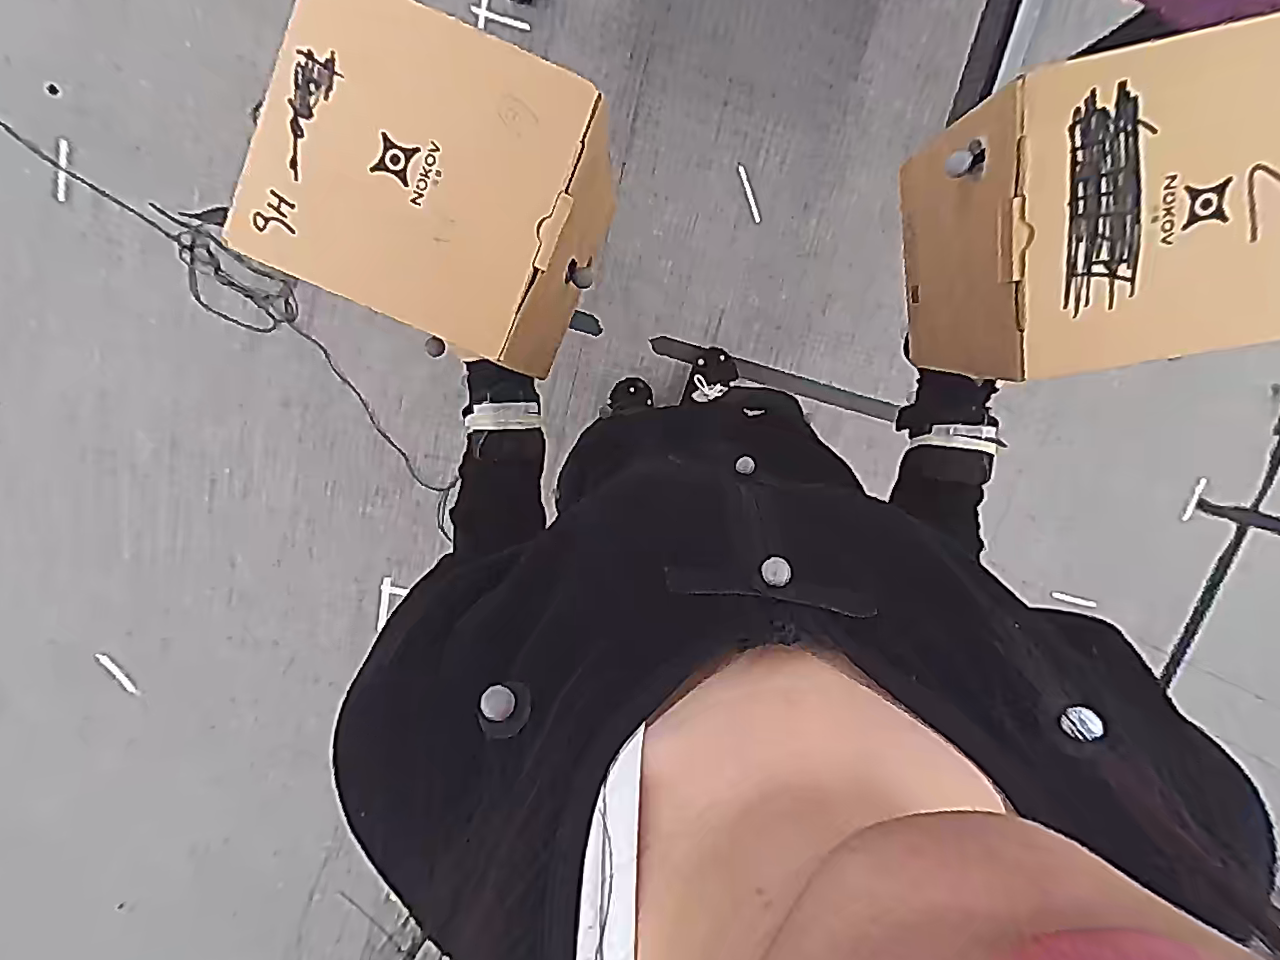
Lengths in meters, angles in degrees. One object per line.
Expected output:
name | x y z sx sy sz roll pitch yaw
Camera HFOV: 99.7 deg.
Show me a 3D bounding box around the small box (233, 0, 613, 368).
small box | -0.126 -0.189 0.387 0.179 0.176 0.168 23 96 -4
